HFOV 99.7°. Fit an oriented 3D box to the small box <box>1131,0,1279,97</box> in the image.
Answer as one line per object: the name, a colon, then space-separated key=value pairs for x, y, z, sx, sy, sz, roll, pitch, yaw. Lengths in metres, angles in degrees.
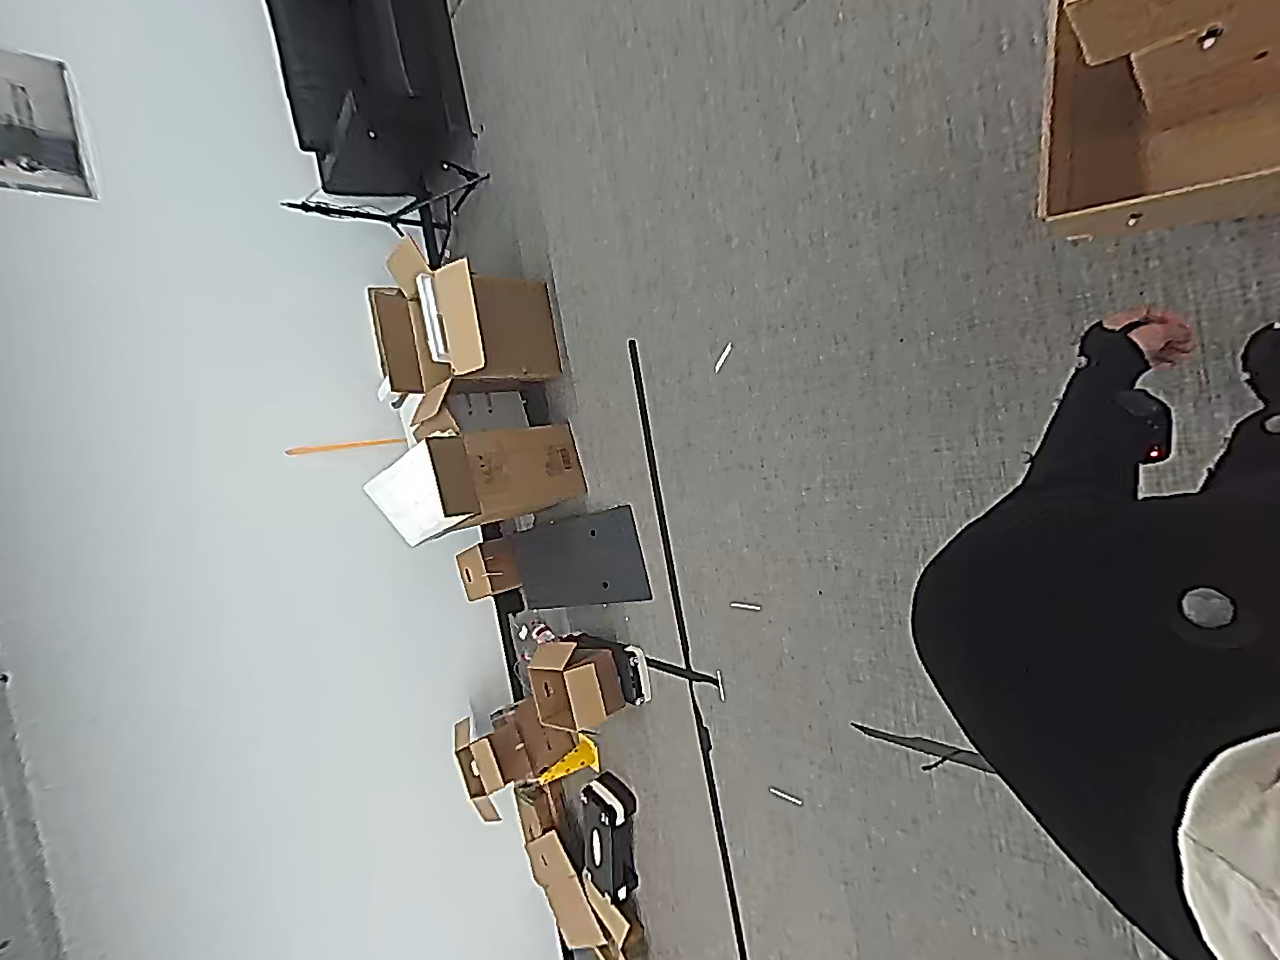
small box: x=0.684 y=-0.590 z=0.618 sx=0.168 sy=0.176 sz=0.179 roll=3 pitch=100 yaw=48

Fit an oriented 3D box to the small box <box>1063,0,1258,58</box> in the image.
small box: x=0.546 y=-0.568 z=0.530 sx=0.179 sy=0.176 sz=0.168 roll=7 pitch=103 yaw=48
